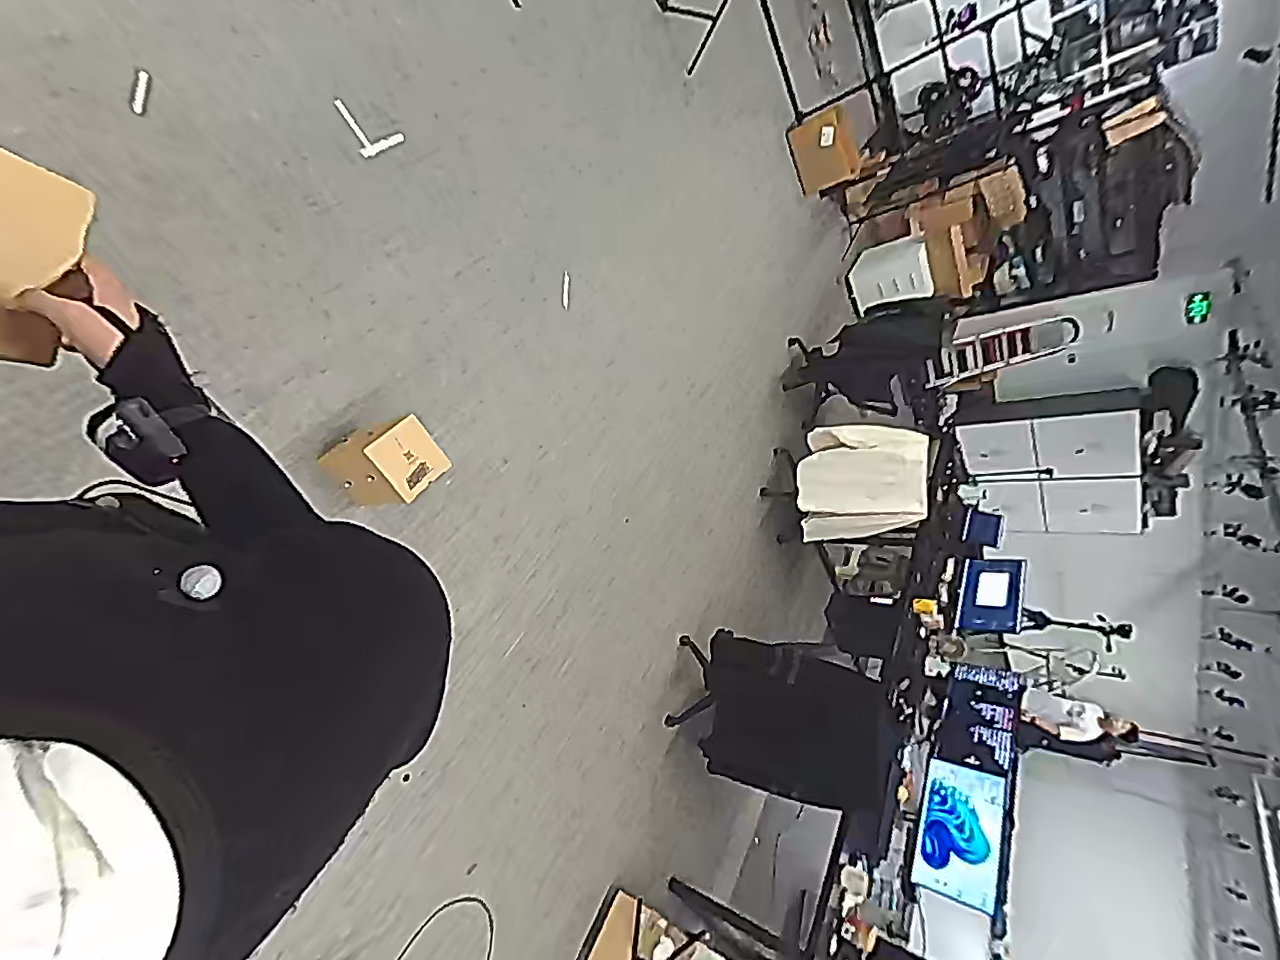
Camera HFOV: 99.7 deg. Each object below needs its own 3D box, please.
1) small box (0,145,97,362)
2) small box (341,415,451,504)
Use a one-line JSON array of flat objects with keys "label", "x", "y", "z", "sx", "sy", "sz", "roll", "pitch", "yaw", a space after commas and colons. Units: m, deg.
[{"label": "small box", "x": -0.612, "y": -0.204, "z": 0.436, "sx": 0.179, "sy": 0.176, "sz": 0.168, "roll": 19, "pitch": 81, "yaw": -68}, {"label": "small box", "x": -0.652, "y": -0.052, "z": 1.444, "sx": 0.168, "sy": 0.176, "sz": 0.179, "roll": -52, "pitch": 123, "yaw": -37}]
